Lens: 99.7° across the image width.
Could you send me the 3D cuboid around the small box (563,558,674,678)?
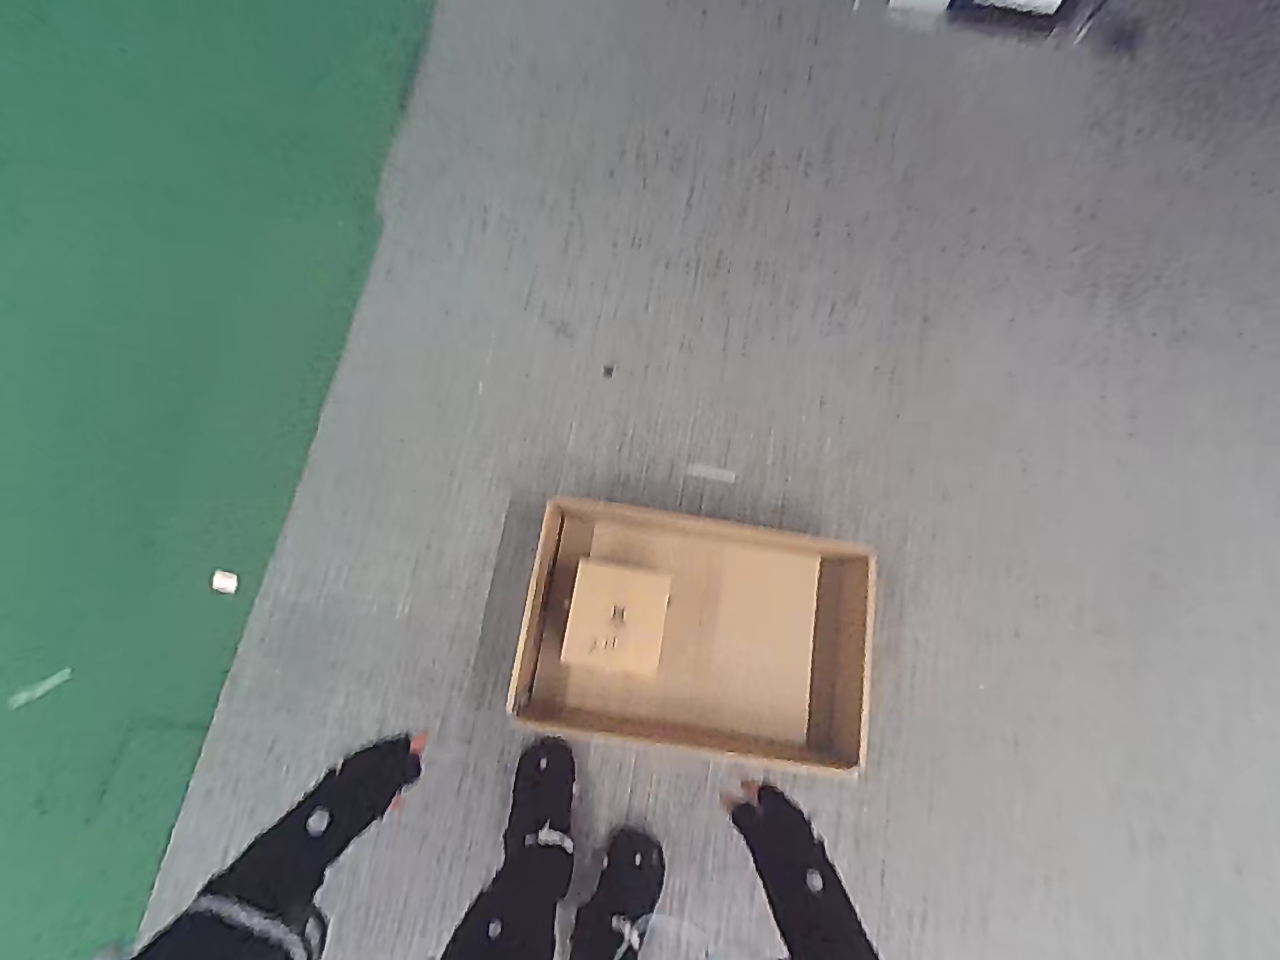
[{"bbox_3d":[-0.039,0.253,0.999,0.168,0.176,0.179,11,76,0],"label":"small box"}]
